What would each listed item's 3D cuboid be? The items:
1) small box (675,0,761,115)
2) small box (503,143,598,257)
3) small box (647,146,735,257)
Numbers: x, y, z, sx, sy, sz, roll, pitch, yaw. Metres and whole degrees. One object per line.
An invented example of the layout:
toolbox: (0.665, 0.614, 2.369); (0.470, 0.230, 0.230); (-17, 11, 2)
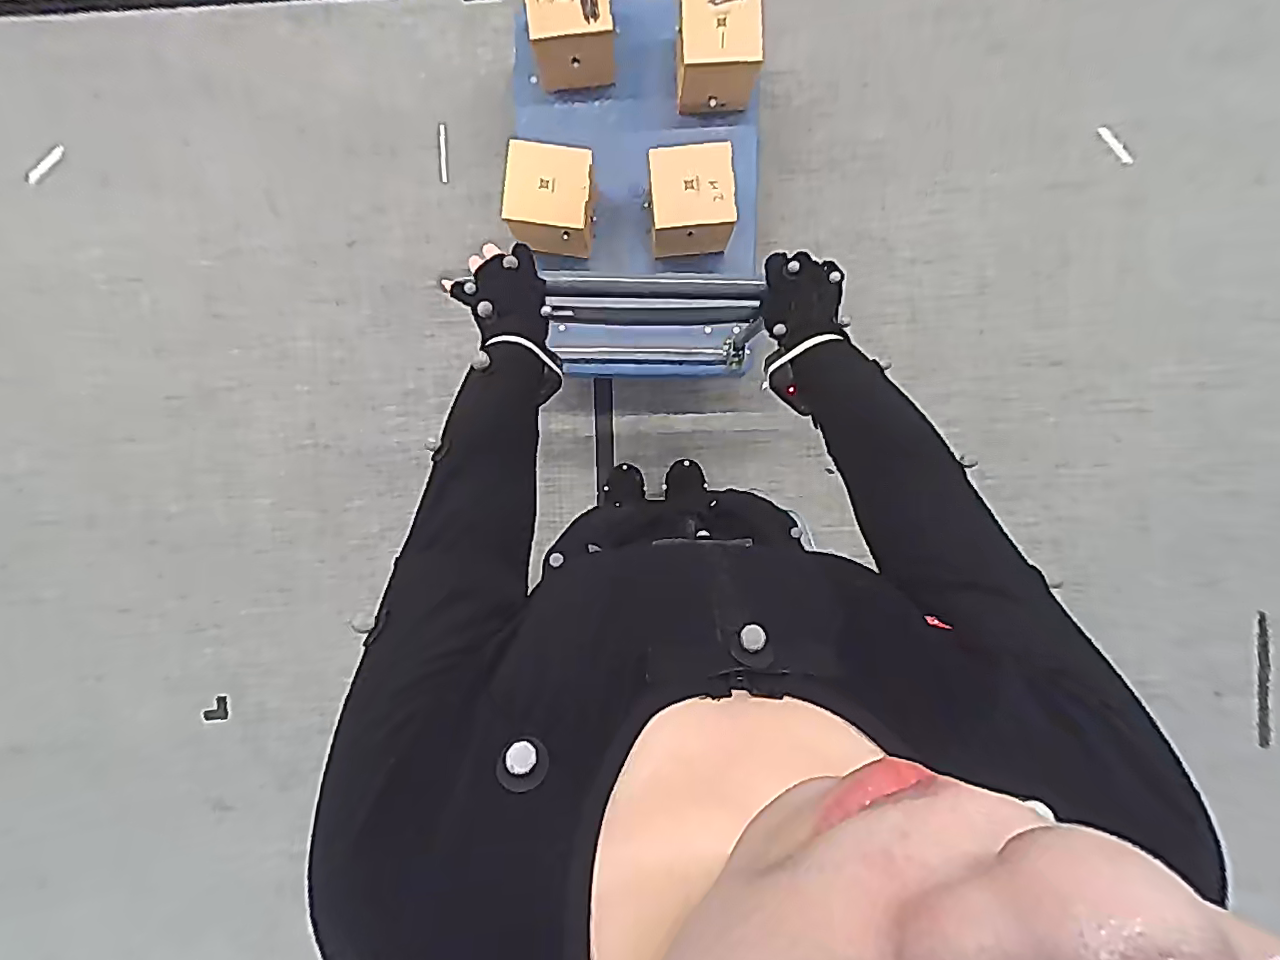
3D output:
small box: (0.167, -0.951, 1.199); (0.168, 0.176, 0.179); (-2, 94, 0)
small box: (-0.194, -0.619, 1.214); (0.179, 0.176, 0.168); (7, 92, -2)
small box: (0.109, -0.616, 1.215); (0.179, 0.176, 0.168); (-5, 93, 0)
